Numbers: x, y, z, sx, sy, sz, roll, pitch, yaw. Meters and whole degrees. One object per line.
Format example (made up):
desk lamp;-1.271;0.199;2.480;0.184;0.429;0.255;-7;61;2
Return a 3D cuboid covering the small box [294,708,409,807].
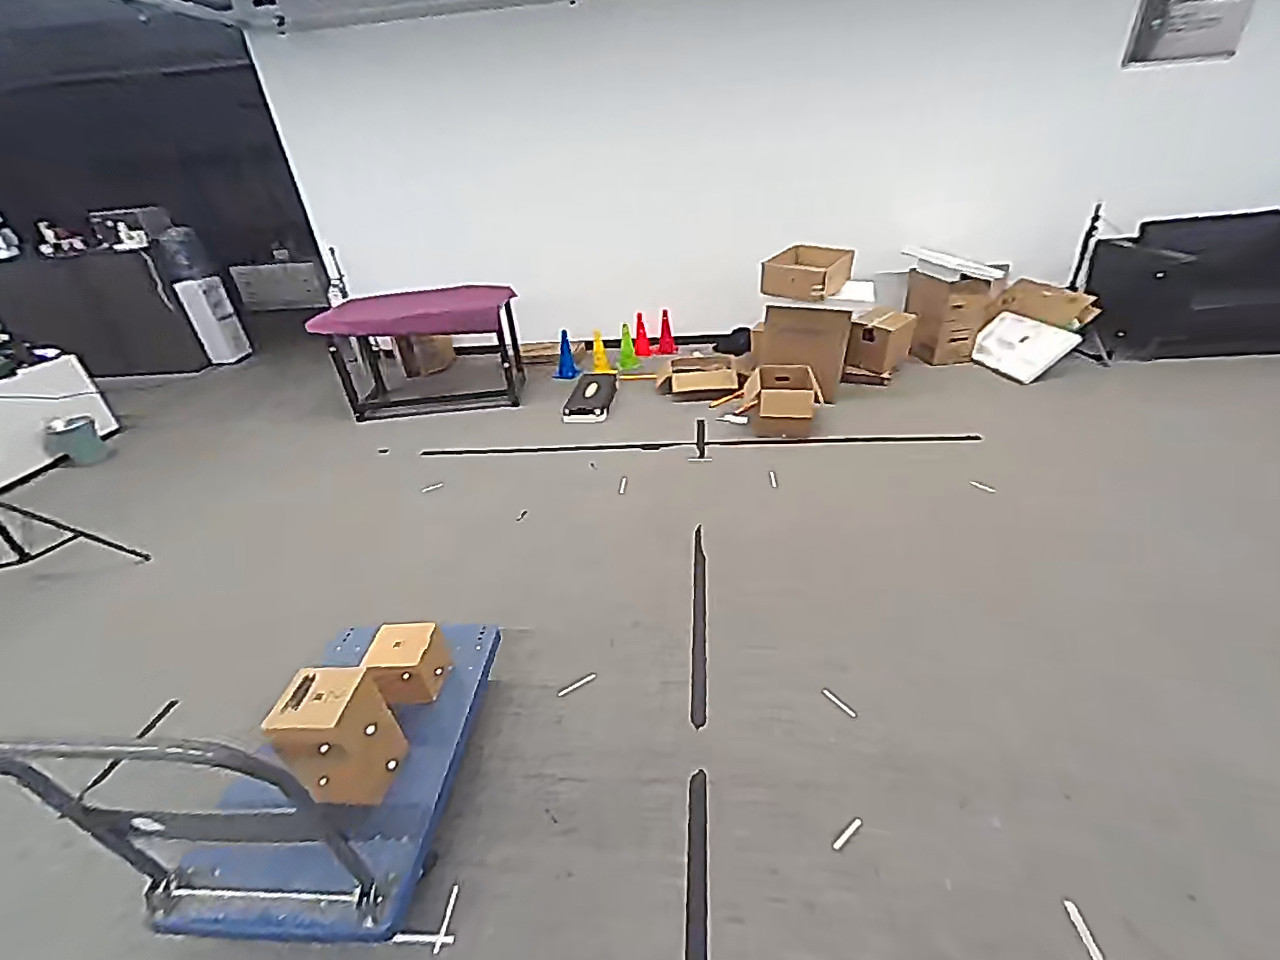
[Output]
small box;-0.732;0.714;1.392;0.179;0.176;0.168;0;32;8

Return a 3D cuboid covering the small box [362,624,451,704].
small box;-0.701;0.561;1.642;0.179;0.176;0.168;-3;32;2
